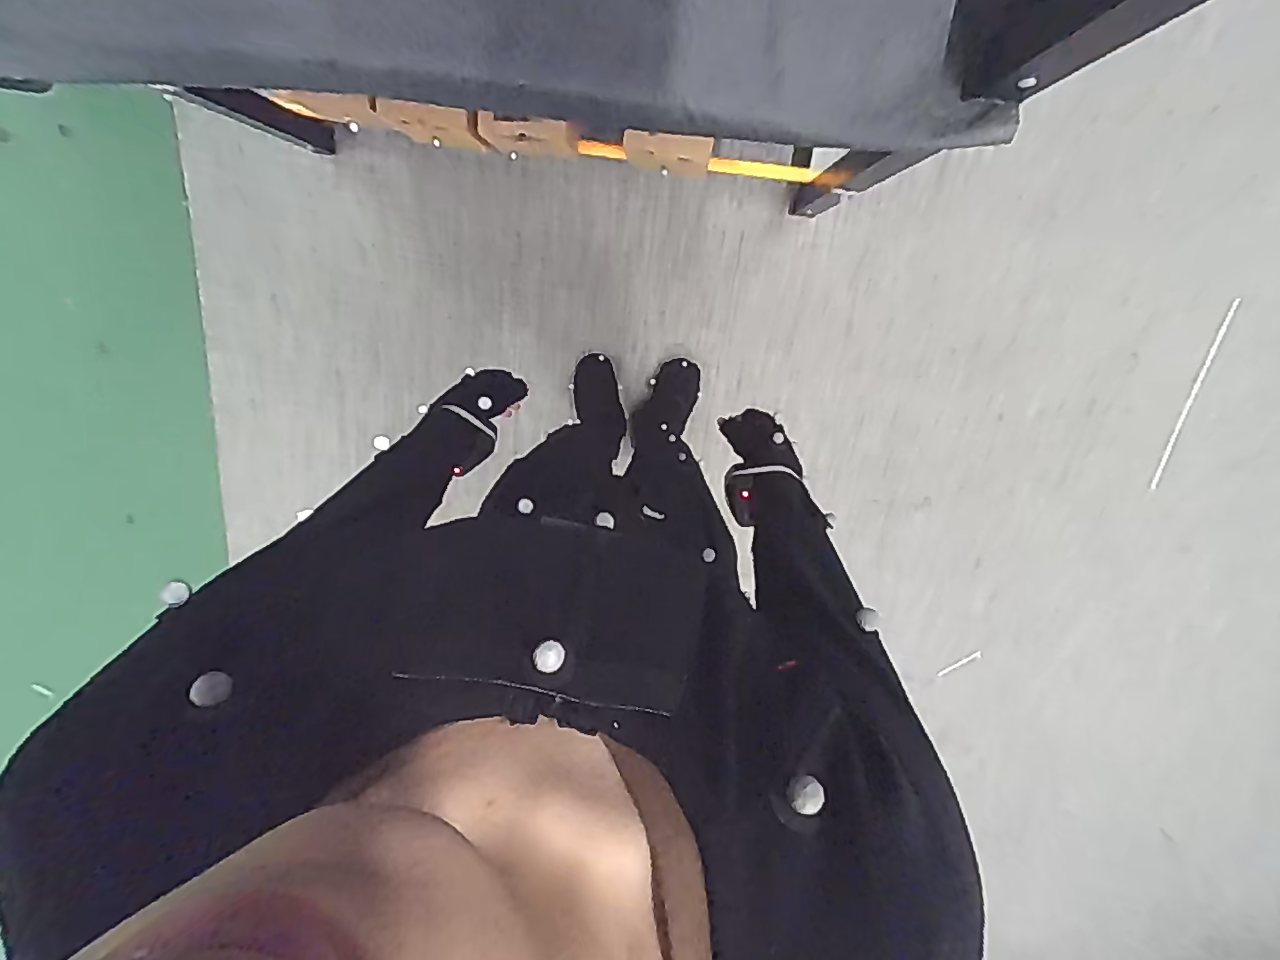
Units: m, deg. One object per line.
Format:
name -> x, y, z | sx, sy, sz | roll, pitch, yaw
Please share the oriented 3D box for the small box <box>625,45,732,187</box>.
small box -> 0.072, -0.699, 1.058 | 0.168, 0.176, 0.179 | 12, 110, -1
